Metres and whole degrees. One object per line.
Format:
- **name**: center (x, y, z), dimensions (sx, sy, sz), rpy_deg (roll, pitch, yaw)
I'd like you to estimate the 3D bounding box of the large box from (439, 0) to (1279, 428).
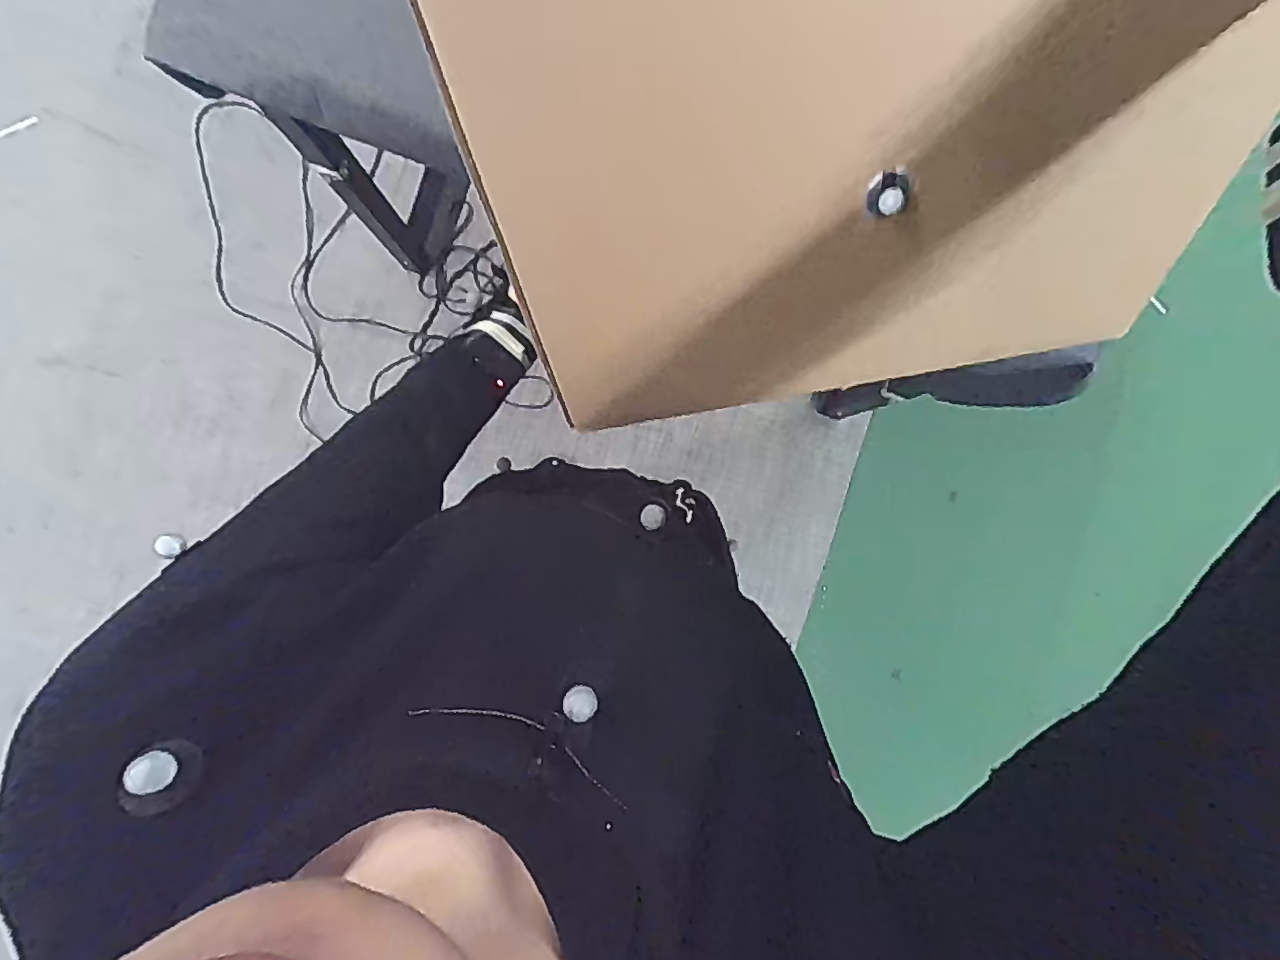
- **large box**: center (0.115, -0.282, 0.381), dimensions (0.408, 0.320, 0.320), rpy_deg (-12, 52, 4)
